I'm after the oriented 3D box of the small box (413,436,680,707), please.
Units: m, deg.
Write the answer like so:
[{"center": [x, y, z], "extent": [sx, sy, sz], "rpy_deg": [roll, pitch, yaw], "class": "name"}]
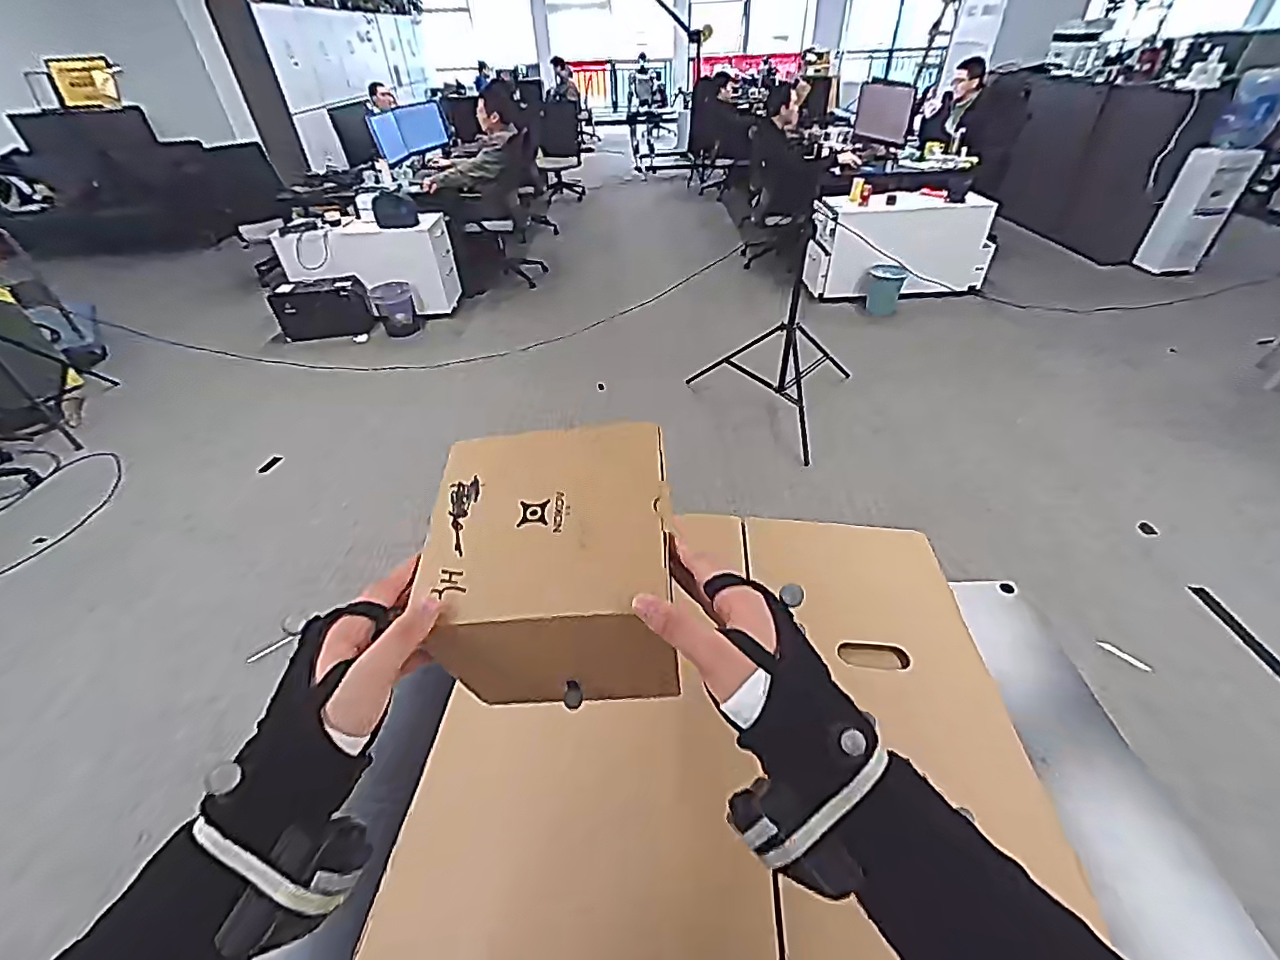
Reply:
[{"center": [-0.057, 0.082, 0.459], "extent": [0.179, 0.176, 0.168], "rpy_deg": [-4, 49, 3], "class": "small box"}]
